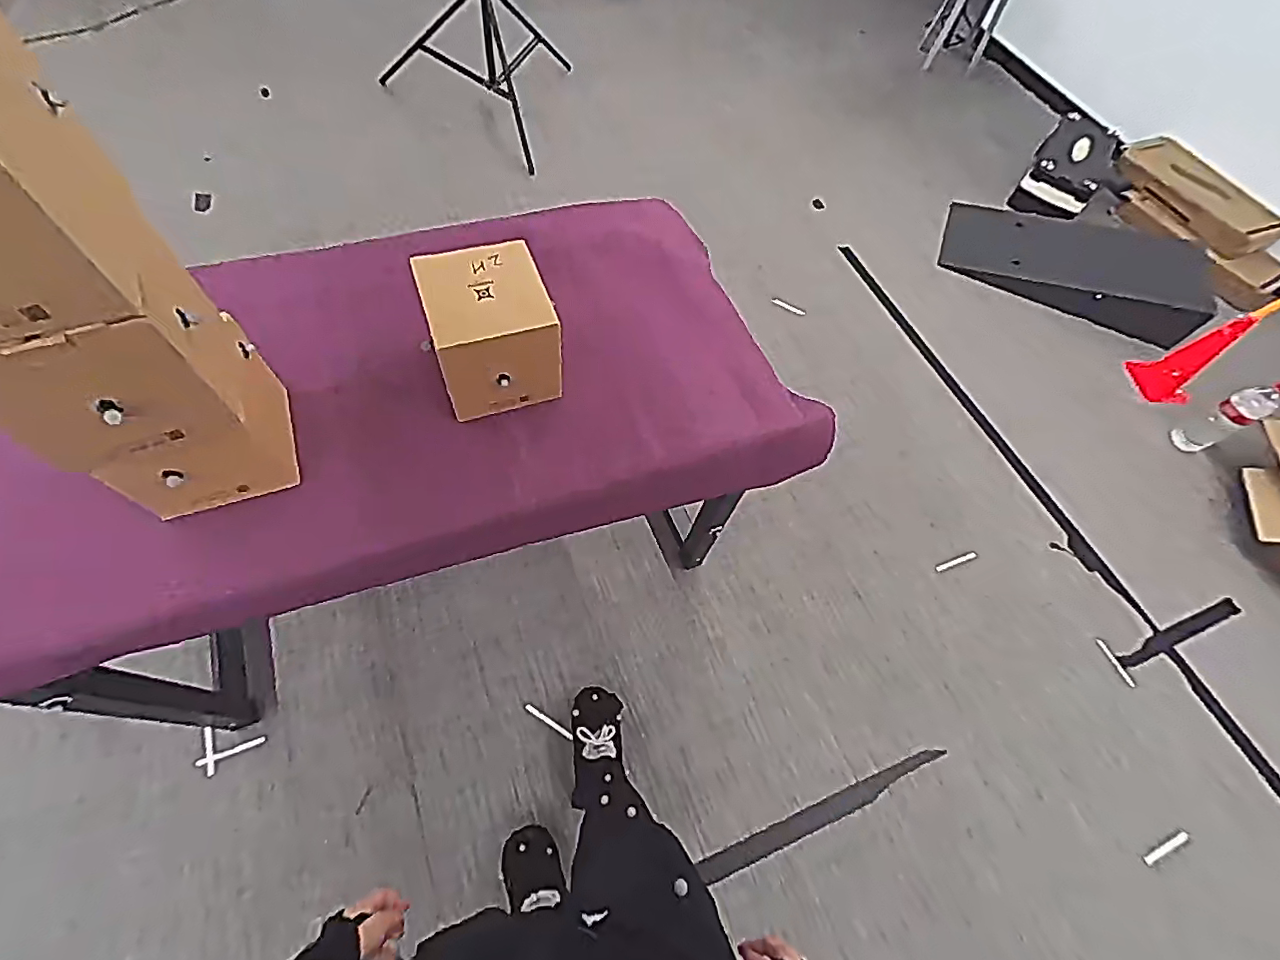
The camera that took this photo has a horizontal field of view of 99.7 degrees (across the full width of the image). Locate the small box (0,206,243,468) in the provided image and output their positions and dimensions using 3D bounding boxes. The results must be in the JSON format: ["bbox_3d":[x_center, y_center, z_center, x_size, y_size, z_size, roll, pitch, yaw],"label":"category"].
[{"bbox_3d":[-0.539,-0.132,0.543,0.168,0.176,0.179,-22,67,-18],"label":"small box"}]

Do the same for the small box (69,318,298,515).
[{"bbox_3d":[-0.568,-0.071,0.694,0.168,0.176,0.179,-18,65,-16],"label":"small box"}]

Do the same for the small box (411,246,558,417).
[{"bbox_3d":[-0.224,-0.214,0.812,0.168,0.176,0.179,-17,65,-16],"label":"small box"}]
